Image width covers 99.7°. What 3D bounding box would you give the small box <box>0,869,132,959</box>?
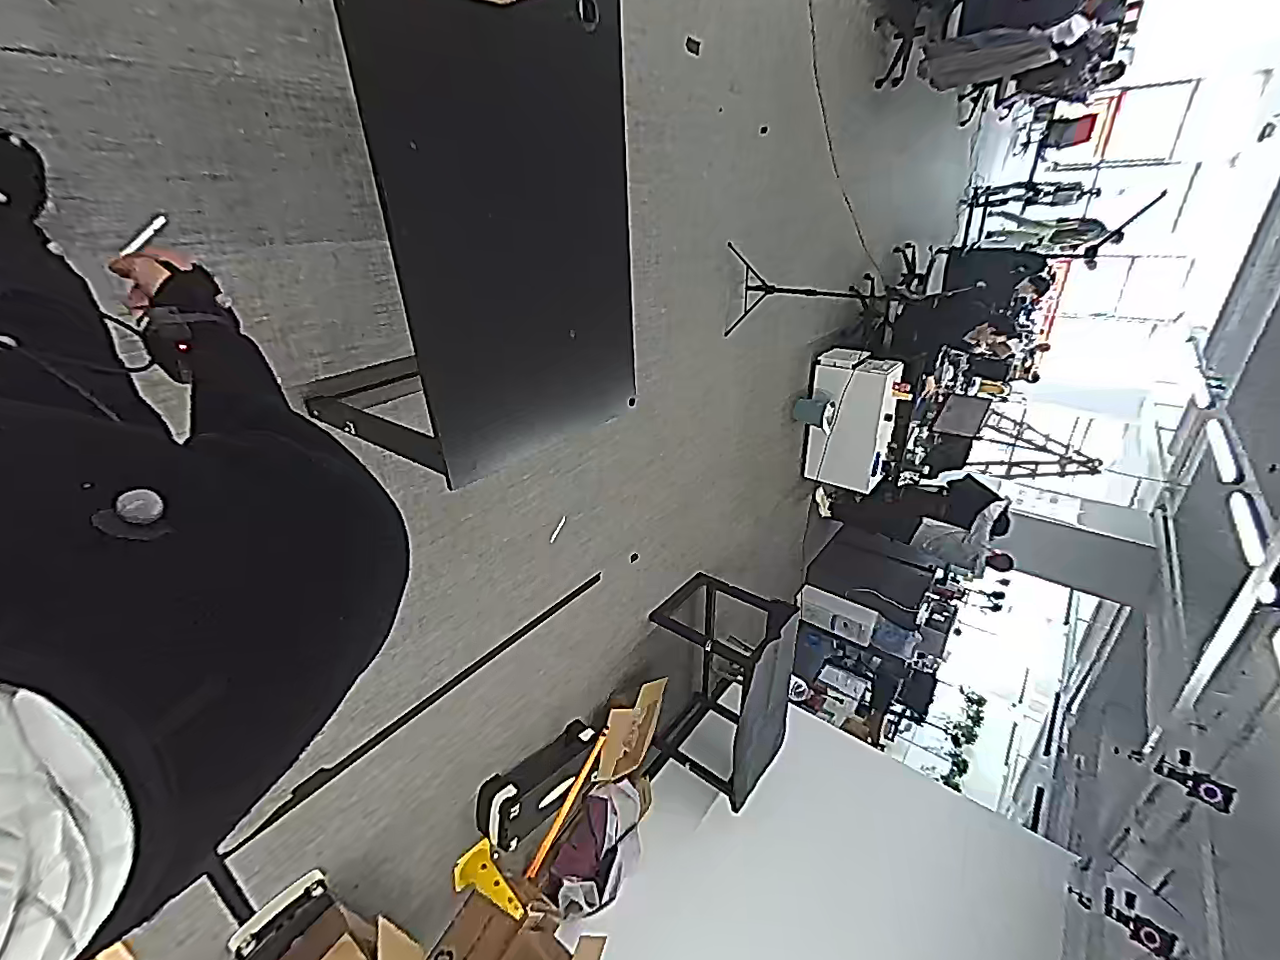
[{"bbox_3d":[-1.124,0.911,1.042,0.168,0.176,0.179,-27,126,-44],"label":"small box"}]

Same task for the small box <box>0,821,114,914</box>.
[{"bbox_3d":[-1.257,0.866,1.125,0.179,0.176,0.168,-29,127,-42],"label":"small box"}]
